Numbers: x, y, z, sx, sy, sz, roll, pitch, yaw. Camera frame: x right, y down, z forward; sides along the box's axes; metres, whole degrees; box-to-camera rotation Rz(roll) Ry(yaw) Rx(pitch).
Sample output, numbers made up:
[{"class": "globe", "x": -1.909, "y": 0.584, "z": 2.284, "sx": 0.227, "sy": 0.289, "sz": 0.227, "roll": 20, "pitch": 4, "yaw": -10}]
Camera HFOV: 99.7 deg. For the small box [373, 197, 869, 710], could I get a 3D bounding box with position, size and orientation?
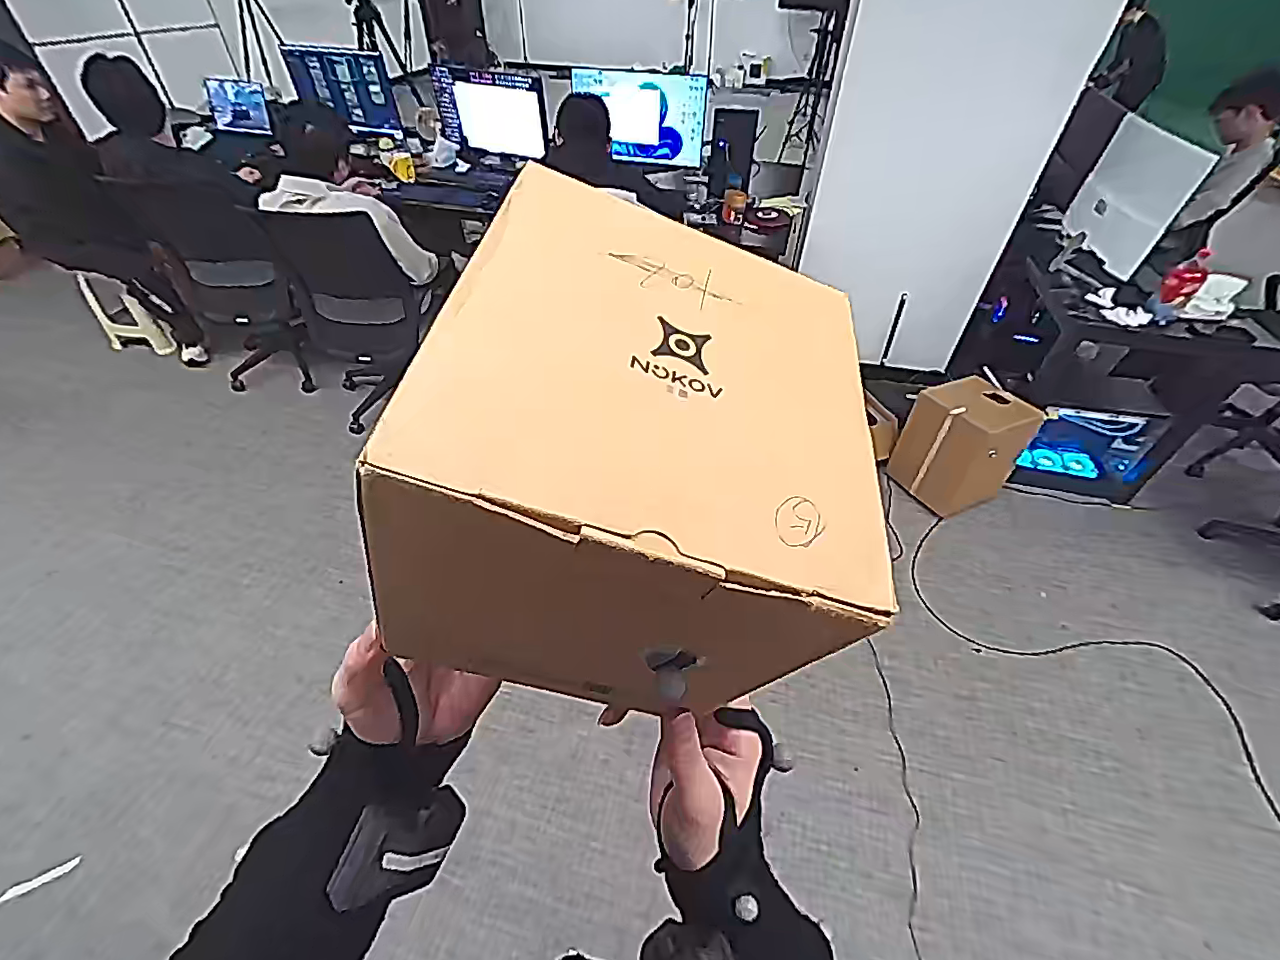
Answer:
[{"class": "small box", "x": -0.014, "y": 0.002, "z": 0.279, "sx": 0.168, "sy": 0.176, "sz": 0.179, "roll": 18, "pitch": 52, "yaw": -12}]
